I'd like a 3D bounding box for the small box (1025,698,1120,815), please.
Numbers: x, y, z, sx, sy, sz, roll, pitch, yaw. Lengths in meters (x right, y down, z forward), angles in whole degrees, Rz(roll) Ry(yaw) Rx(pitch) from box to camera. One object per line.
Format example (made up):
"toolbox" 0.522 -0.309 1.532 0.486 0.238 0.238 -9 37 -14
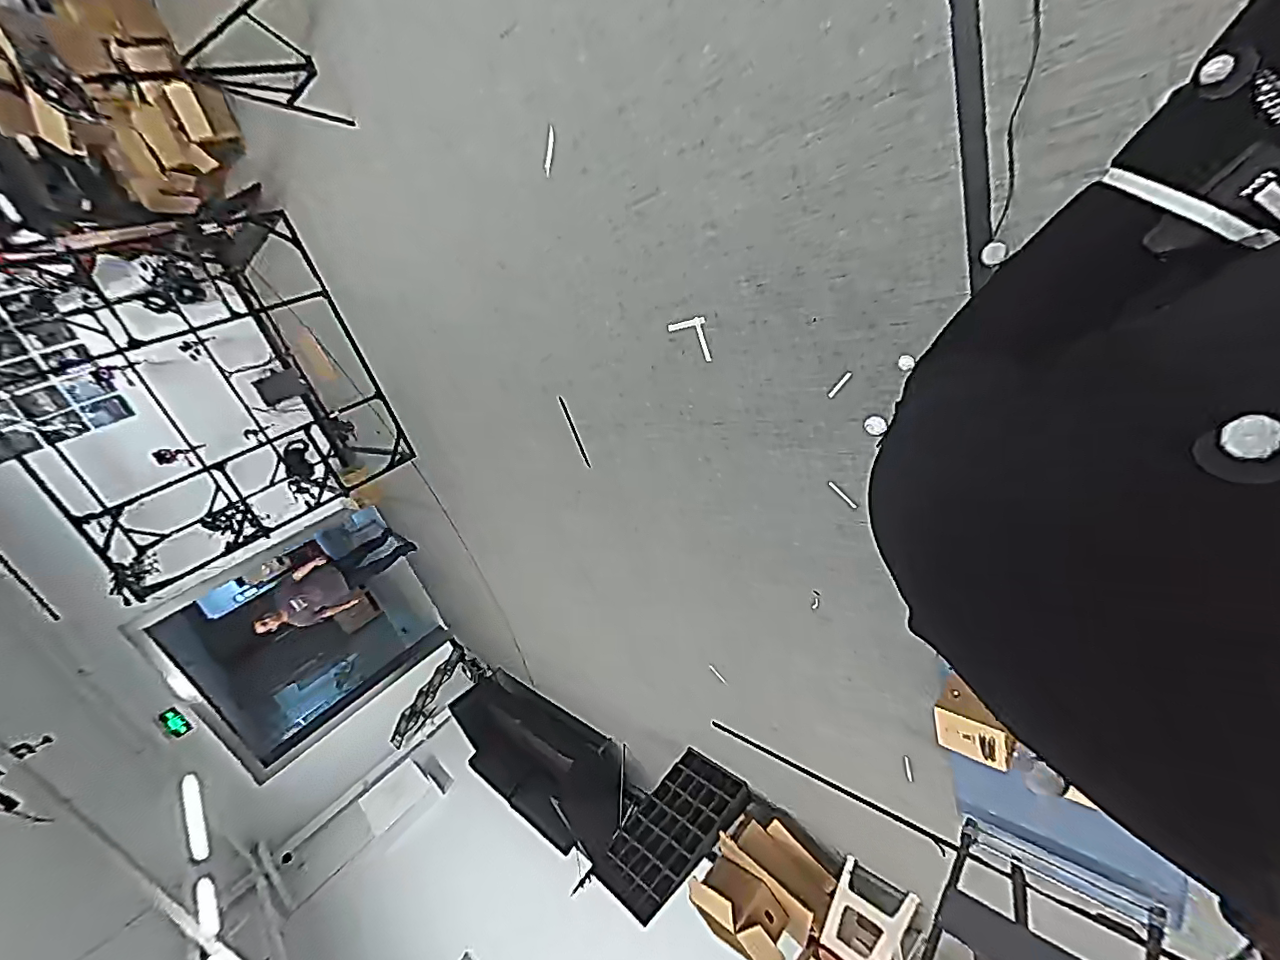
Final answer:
"small box" 1.108 0.697 1.385 0.168 0.176 0.179 5 124 48
